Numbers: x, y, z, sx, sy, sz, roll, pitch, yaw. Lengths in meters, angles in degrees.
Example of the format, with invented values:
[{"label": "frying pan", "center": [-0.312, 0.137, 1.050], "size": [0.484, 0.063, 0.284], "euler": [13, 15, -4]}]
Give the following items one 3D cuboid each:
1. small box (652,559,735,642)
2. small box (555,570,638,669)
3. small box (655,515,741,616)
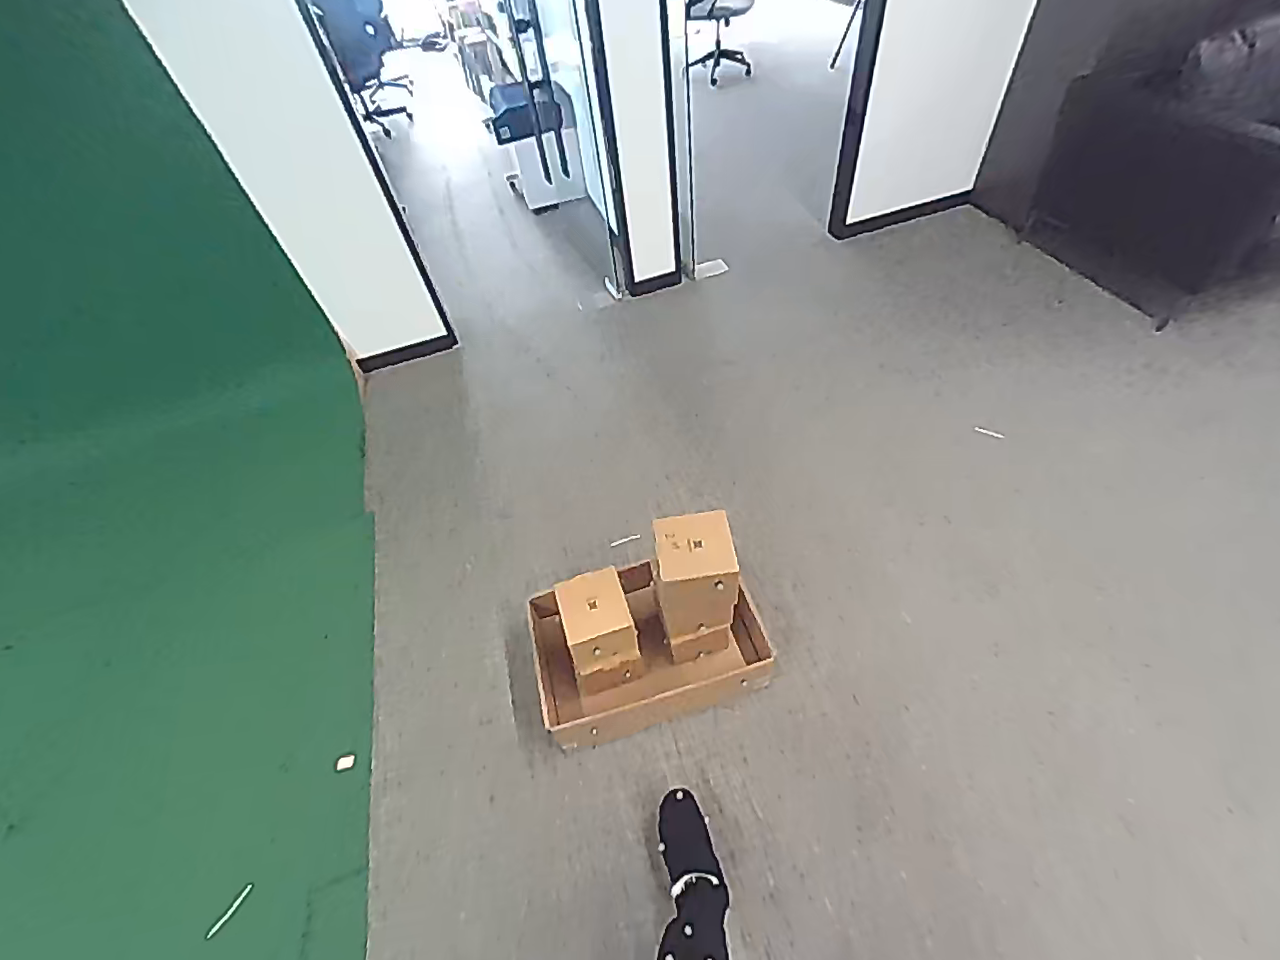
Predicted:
[{"label": "small box", "center": [0.138, 0.301, 1.412], "size": [0.179, 0.176, 0.168], "euler": [-14, 51, -3]}, {"label": "small box", "center": [-0.110, 0.367, 1.396], "size": [0.168, 0.176, 0.179], "euler": [-17, 50, -8]}, {"label": "small box", "center": [0.134, 0.205, 1.276], "size": [0.179, 0.176, 0.168], "euler": [-8, 51, 2]}]
